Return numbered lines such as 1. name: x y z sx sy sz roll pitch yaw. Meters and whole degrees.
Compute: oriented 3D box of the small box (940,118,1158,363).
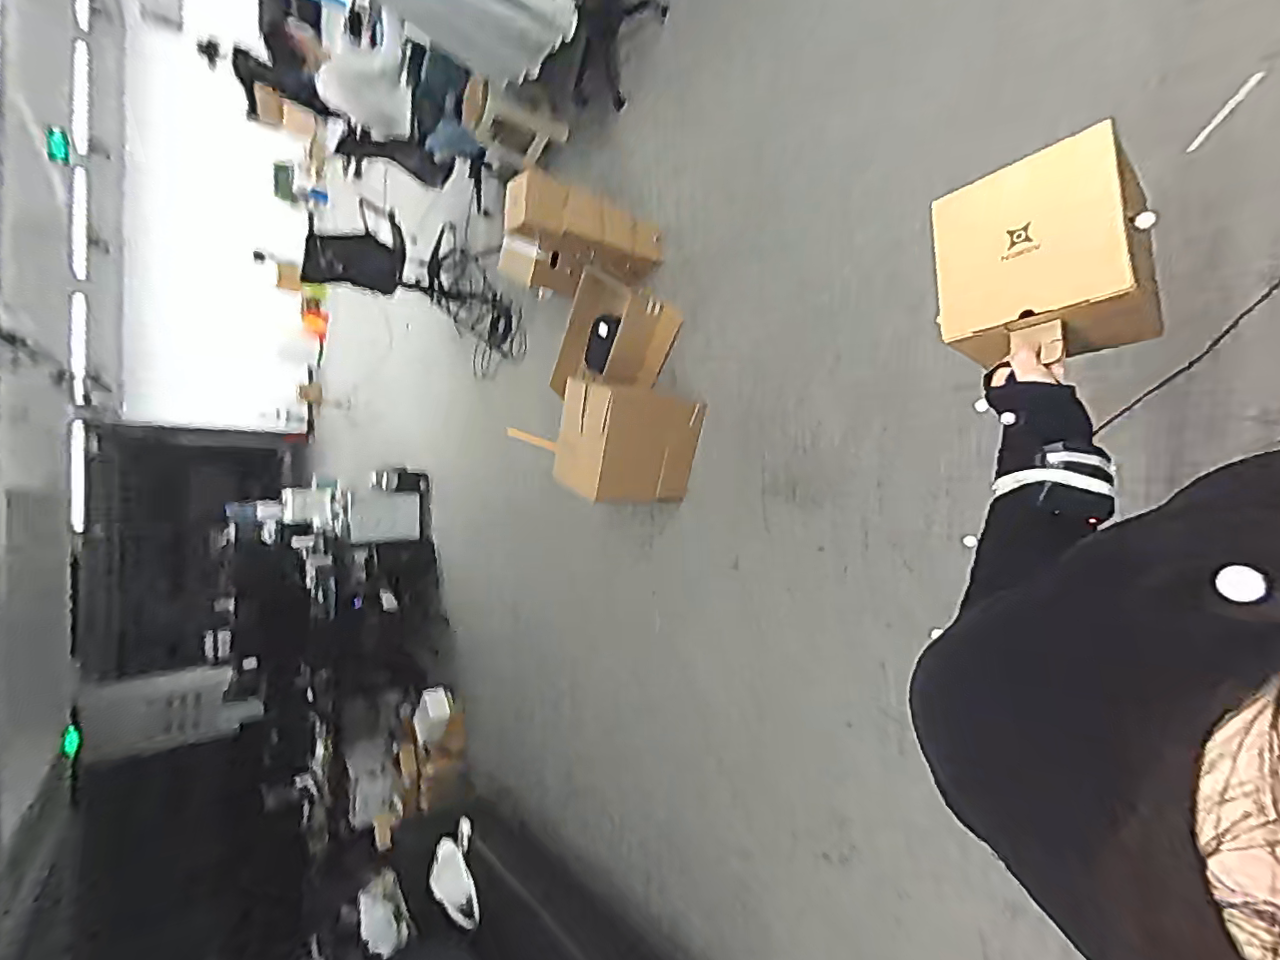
1. small box: 0.466 -0.251 0.620 0.168 0.176 0.179 -7 80 49
